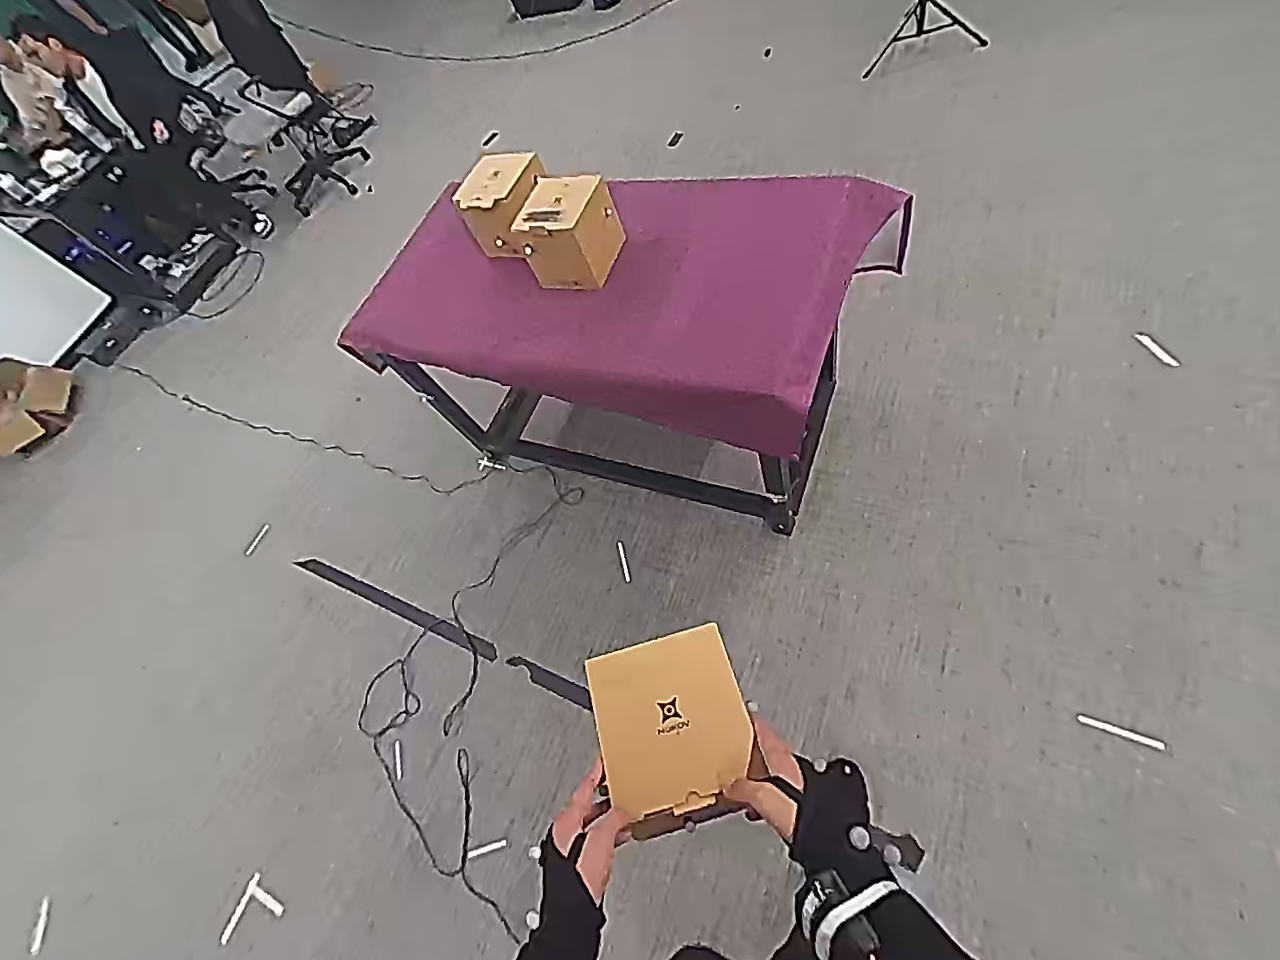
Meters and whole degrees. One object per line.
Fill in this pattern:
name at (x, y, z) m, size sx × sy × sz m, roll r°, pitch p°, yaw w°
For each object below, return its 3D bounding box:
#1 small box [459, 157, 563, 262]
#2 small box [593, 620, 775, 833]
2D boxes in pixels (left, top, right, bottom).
small box at (-0.318, -0.688, 1.379) m, size 0.168 × 0.176 × 0.179 m, roll 12°, pitch 67°, yaw 25°
small box at (0.048, 0.301, 0.655) m, size 0.168 × 0.176 × 0.179 m, roll -15°, pitch 52°, yaw -3°
